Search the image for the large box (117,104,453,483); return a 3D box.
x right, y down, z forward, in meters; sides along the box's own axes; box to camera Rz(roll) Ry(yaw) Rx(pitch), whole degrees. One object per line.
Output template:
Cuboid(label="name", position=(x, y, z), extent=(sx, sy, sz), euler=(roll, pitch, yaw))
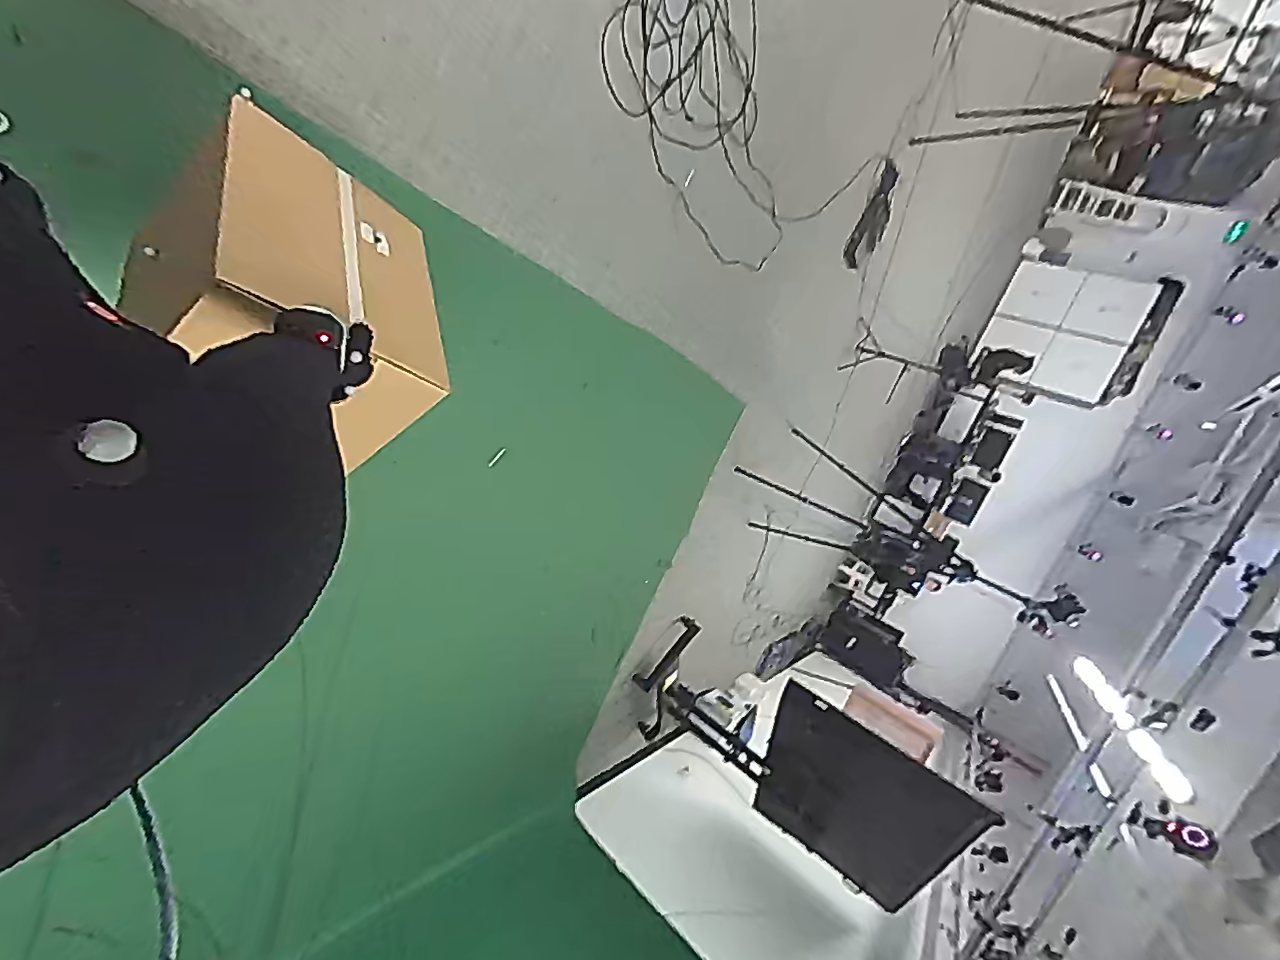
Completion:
Cuboid(label="large box", position=(-0.548, -0.261, 0.855), extent=(0.320, 0.408, 0.320), euler=(-32, 150, 20))
